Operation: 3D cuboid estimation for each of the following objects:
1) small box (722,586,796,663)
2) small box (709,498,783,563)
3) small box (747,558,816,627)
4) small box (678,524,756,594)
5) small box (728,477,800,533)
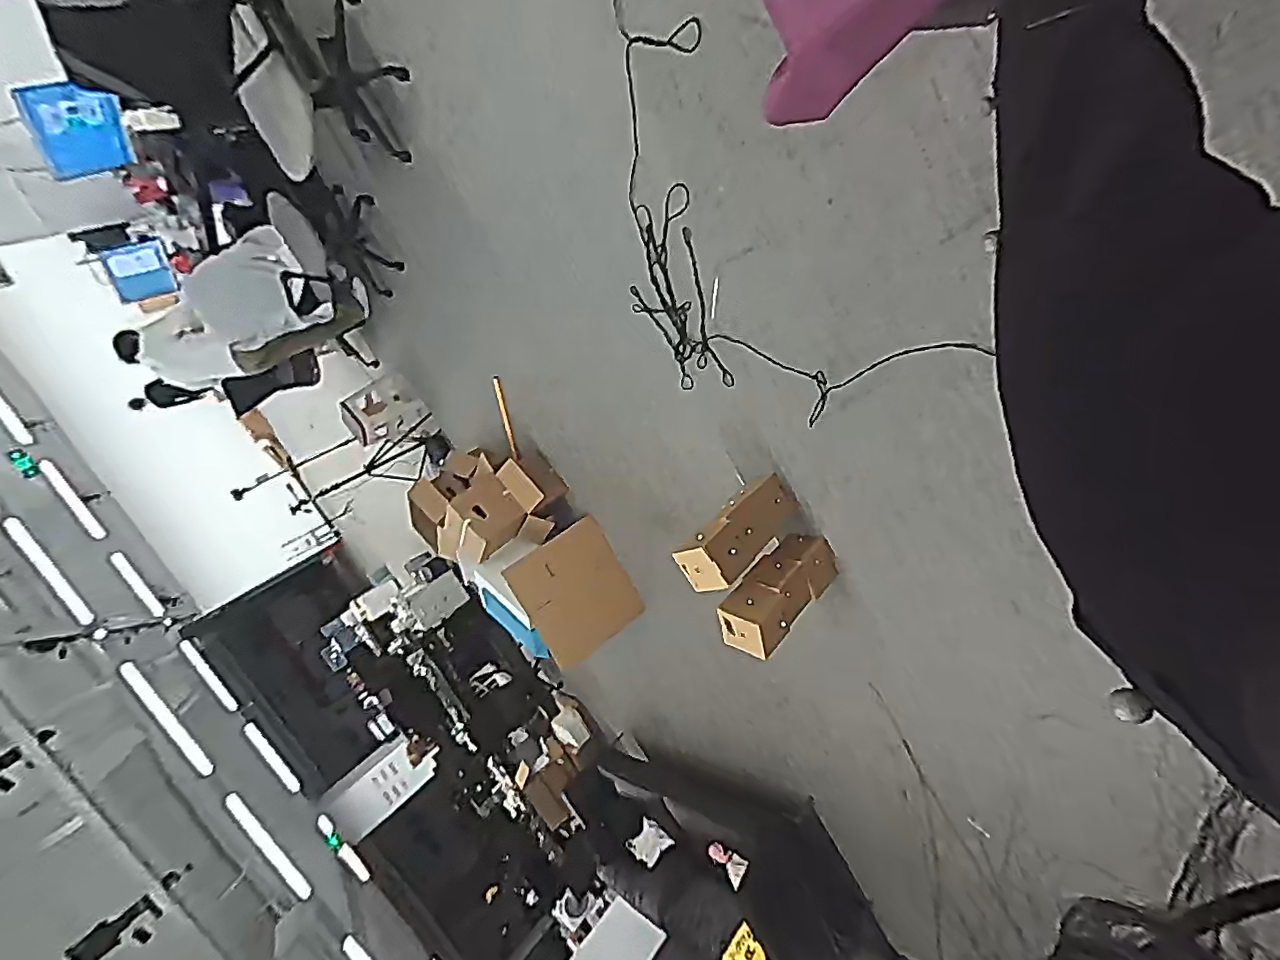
[{"bbox_3d":[0.415,0.491,1.870,0.179,0.176,0.168,12,128,45],"label":"small box"},{"bbox_3d":[0.378,0.192,1.942,0.179,0.176,0.168,53,145,1],"label":"small box"},{"bbox_3d":[0.520,0.411,1.968,0.168,0.176,0.179,7,124,48],"label":"small box"},{"bbox_3d":[0.271,0.268,1.846,0.168,0.176,0.179,57,144,-6],"label":"small box"},{"bbox_3d":[0.476,0.110,2.043,0.168,0.176,0.179,55,146,-2],"label":"small box"}]
